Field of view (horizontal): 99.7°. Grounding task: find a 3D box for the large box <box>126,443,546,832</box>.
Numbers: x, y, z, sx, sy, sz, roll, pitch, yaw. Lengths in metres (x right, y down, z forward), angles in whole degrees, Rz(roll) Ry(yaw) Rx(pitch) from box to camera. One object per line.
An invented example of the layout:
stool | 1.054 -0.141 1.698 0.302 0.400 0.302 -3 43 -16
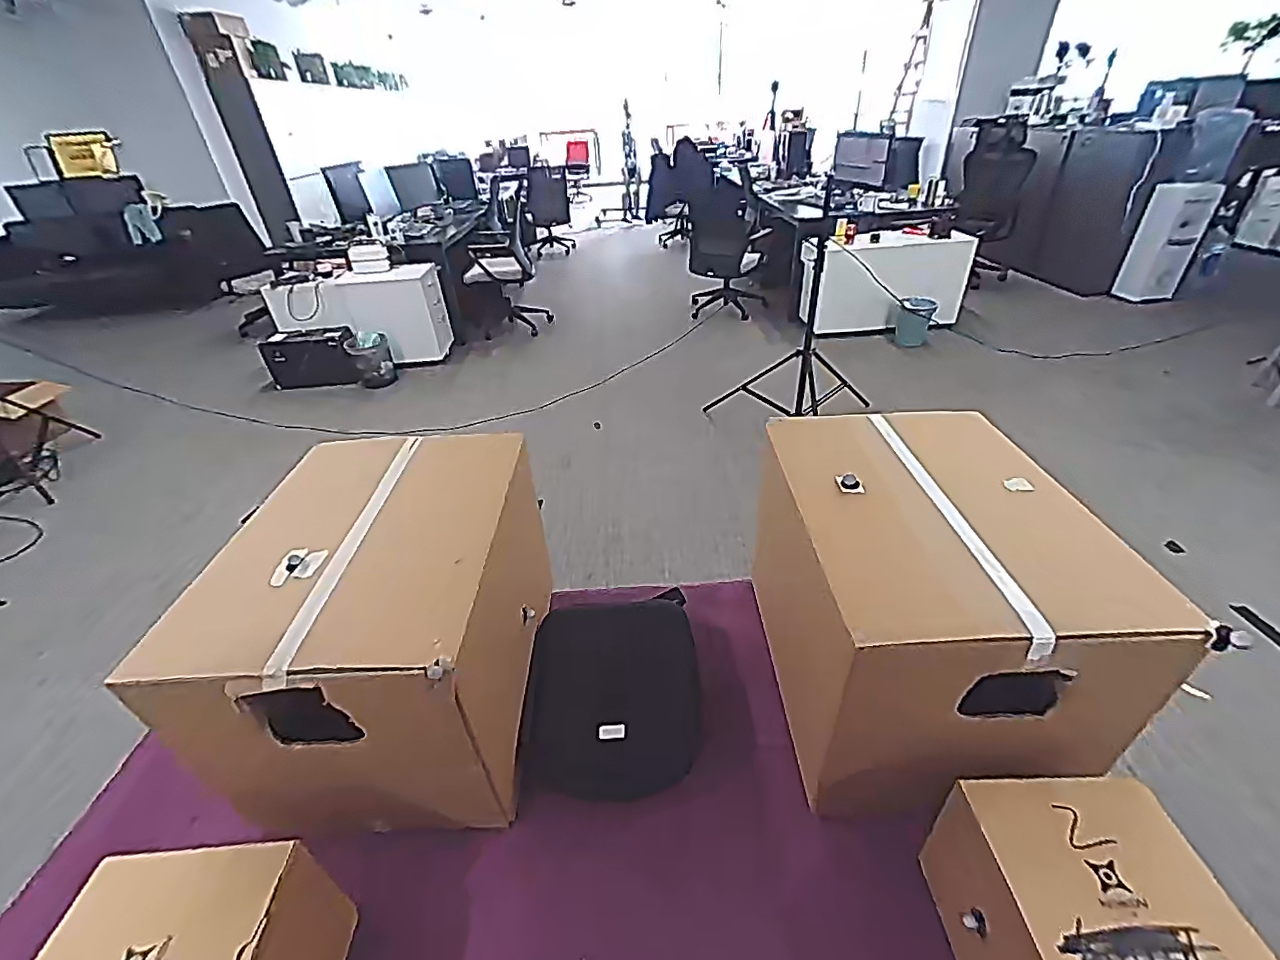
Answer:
large box | -0.314 0.189 0.731 0.320 0.320 0.408 -4 37 1

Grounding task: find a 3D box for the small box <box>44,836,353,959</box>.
small box | -0.394 0.451 0.479 0.179 0.176 0.168 -4 33 -2
